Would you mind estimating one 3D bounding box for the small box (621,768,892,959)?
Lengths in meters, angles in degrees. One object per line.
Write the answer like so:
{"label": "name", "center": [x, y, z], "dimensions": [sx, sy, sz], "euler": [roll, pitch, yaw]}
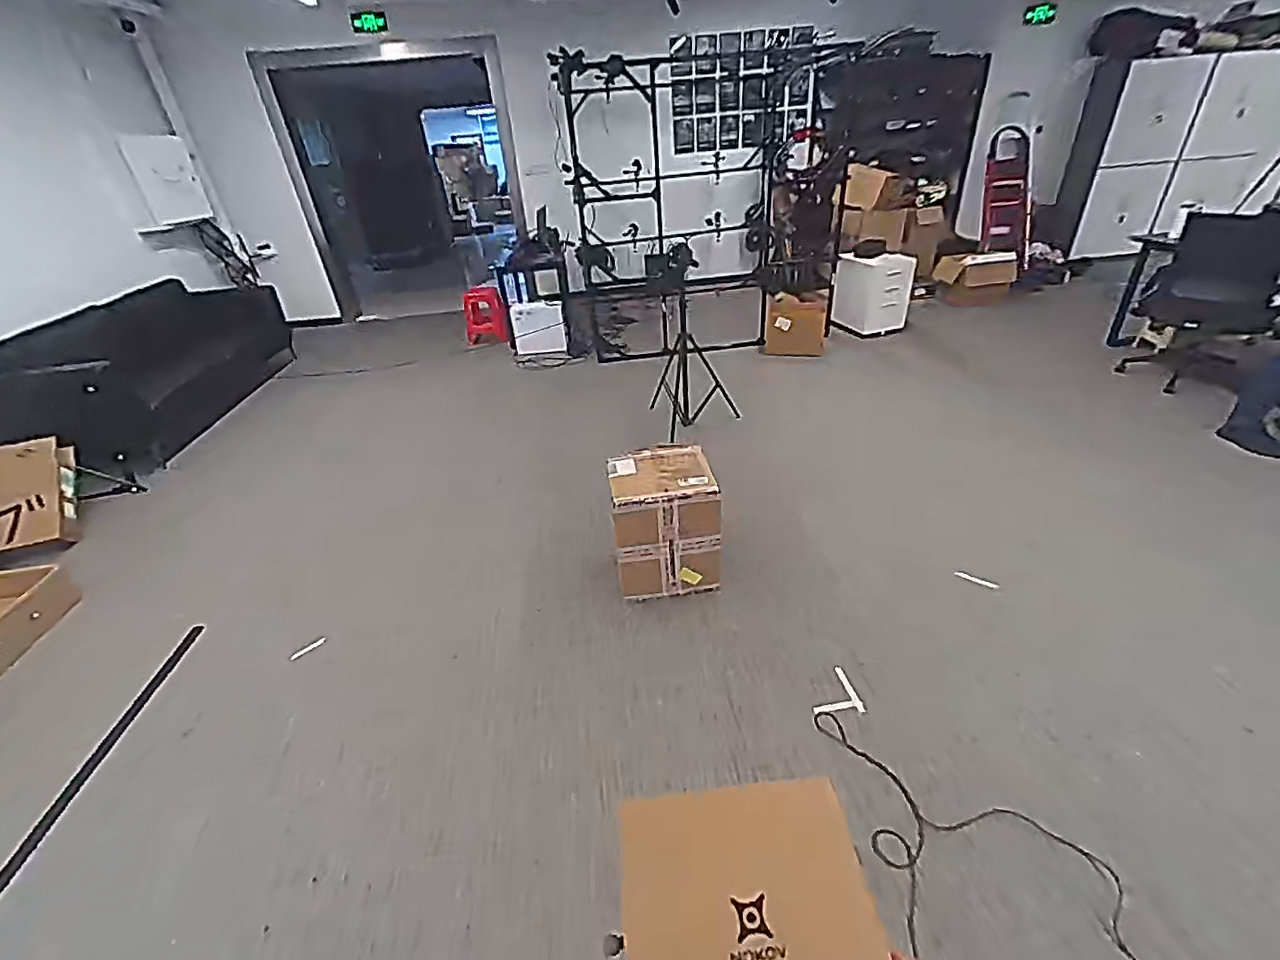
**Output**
{"label": "small box", "center": [0.073, 0.345, 0.403], "dimensions": [0.168, 0.176, 0.179], "euler": [-5, 42, -4]}
